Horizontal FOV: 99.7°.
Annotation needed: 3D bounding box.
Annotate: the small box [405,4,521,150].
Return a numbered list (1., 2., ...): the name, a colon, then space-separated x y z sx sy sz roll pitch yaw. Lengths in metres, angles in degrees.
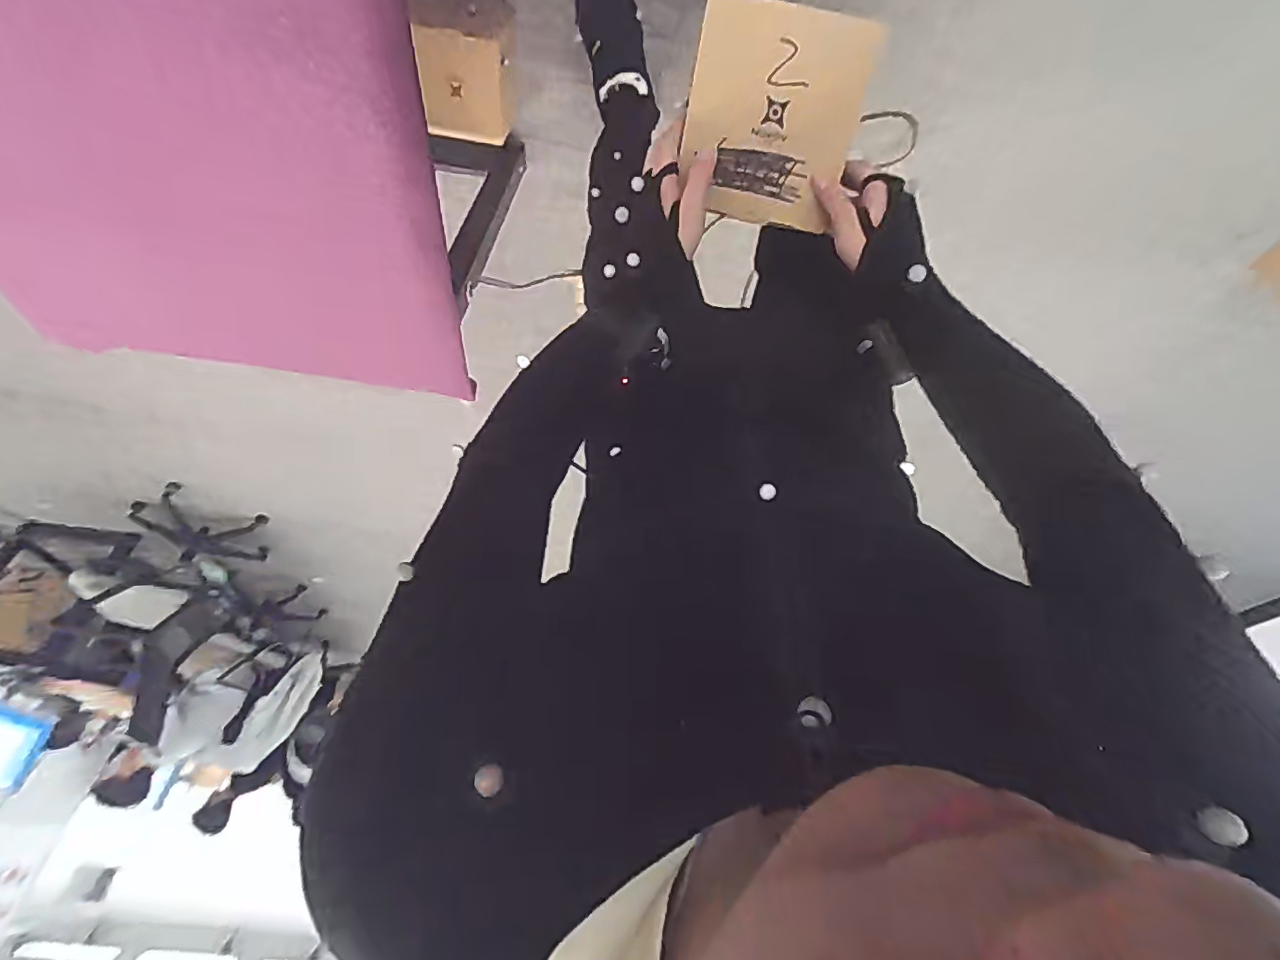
1. small box: -0.333 -0.787 1.059 0.168 0.176 0.179 8 143 -3
